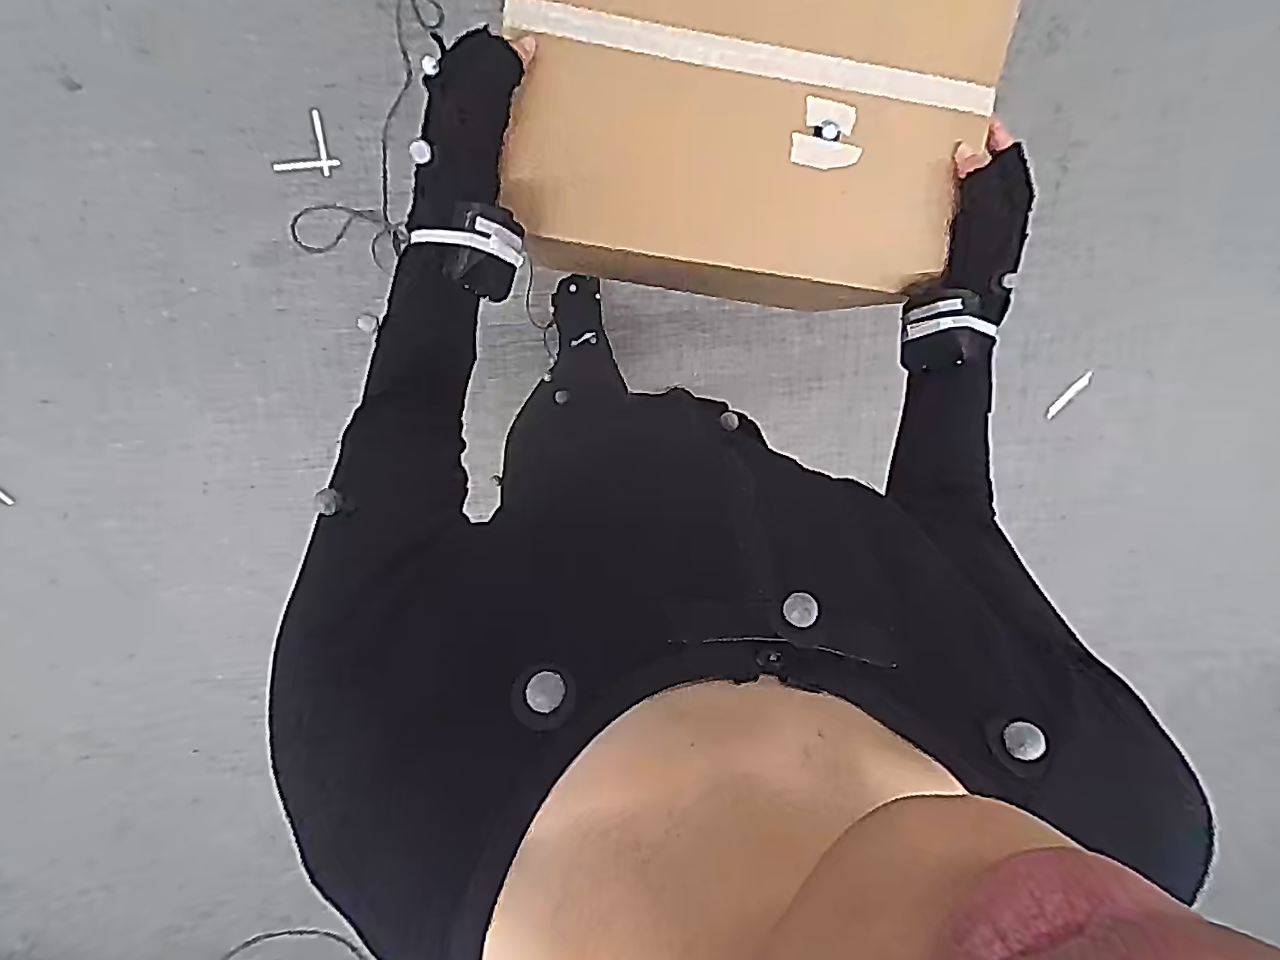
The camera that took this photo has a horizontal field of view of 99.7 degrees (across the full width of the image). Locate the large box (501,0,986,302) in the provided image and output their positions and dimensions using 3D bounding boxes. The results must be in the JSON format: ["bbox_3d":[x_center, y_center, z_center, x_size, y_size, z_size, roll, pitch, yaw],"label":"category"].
[{"bbox_3d":[0.076,-0.387,0.603,0.408,0.320,0.320,6,105,-5],"label":"large box"}]
